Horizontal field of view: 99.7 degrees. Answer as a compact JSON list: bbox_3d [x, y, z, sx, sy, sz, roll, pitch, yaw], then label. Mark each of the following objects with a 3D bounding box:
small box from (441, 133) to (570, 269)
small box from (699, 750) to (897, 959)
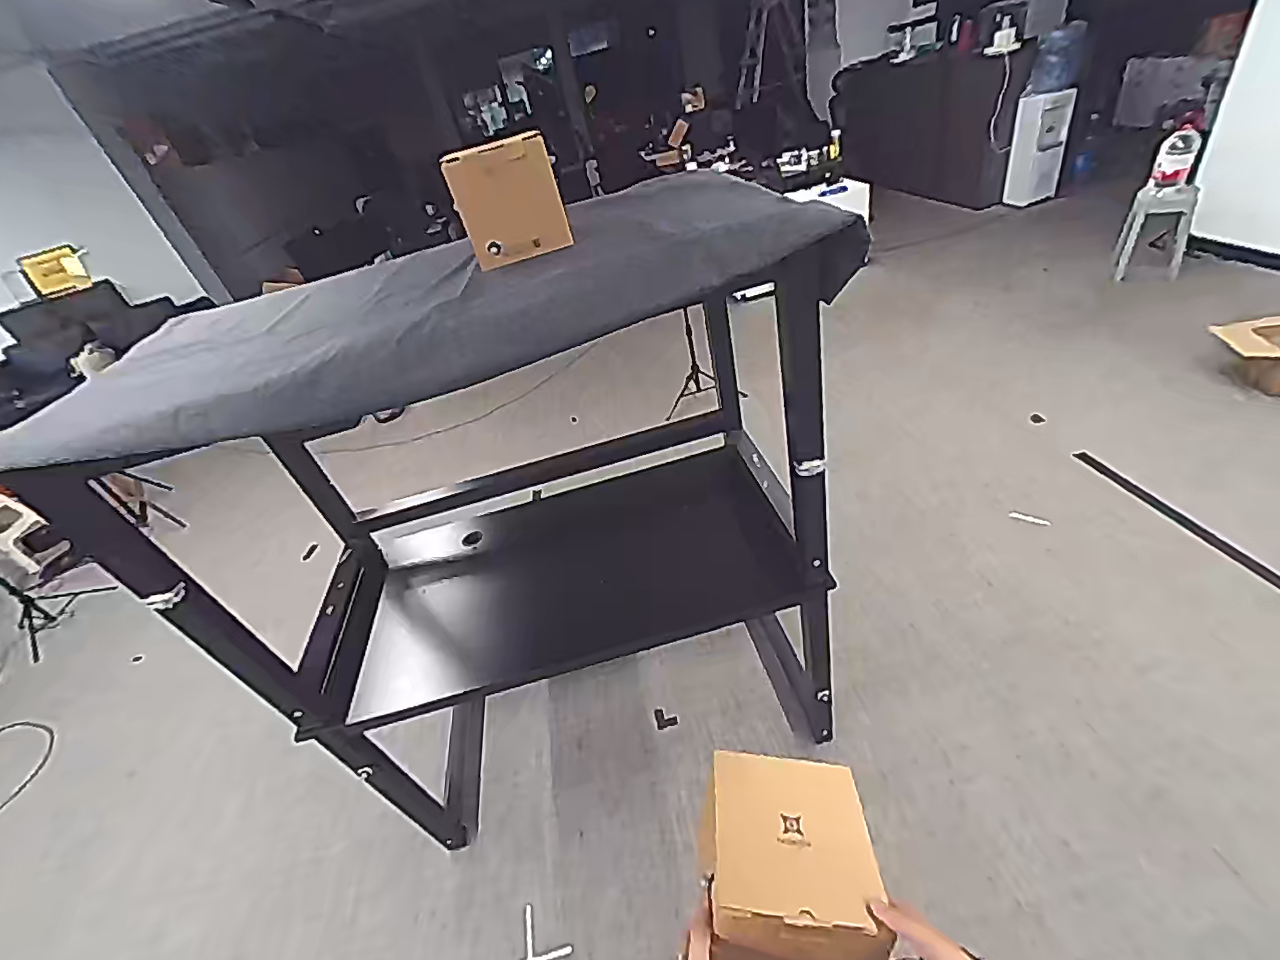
[{"bbox_3d":[-0.230,-0.488,0.950,0.168,0.176,0.179,-18,36,-2],"label":"small box"},{"bbox_3d":[0.156,0.442,0.604,0.168,0.176,0.179,5,25,3],"label":"small box"}]
